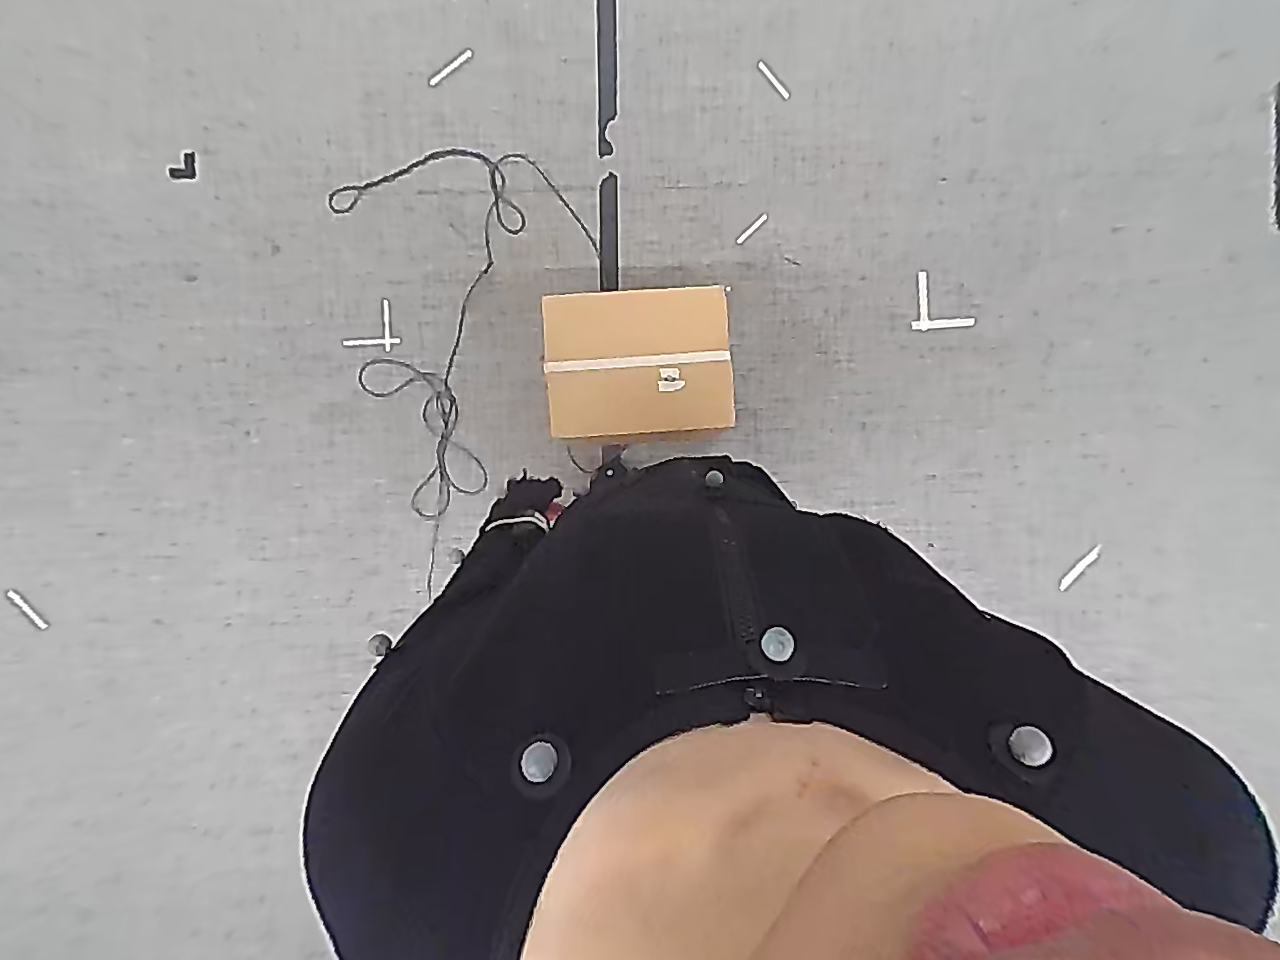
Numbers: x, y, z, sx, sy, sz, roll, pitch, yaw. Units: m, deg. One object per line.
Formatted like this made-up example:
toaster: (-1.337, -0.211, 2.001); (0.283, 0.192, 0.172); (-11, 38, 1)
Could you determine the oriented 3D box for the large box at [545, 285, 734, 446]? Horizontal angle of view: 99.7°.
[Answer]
large box: (-0.006, -0.262, 1.339); (0.408, 0.320, 0.320); (-4, 90, -2)
